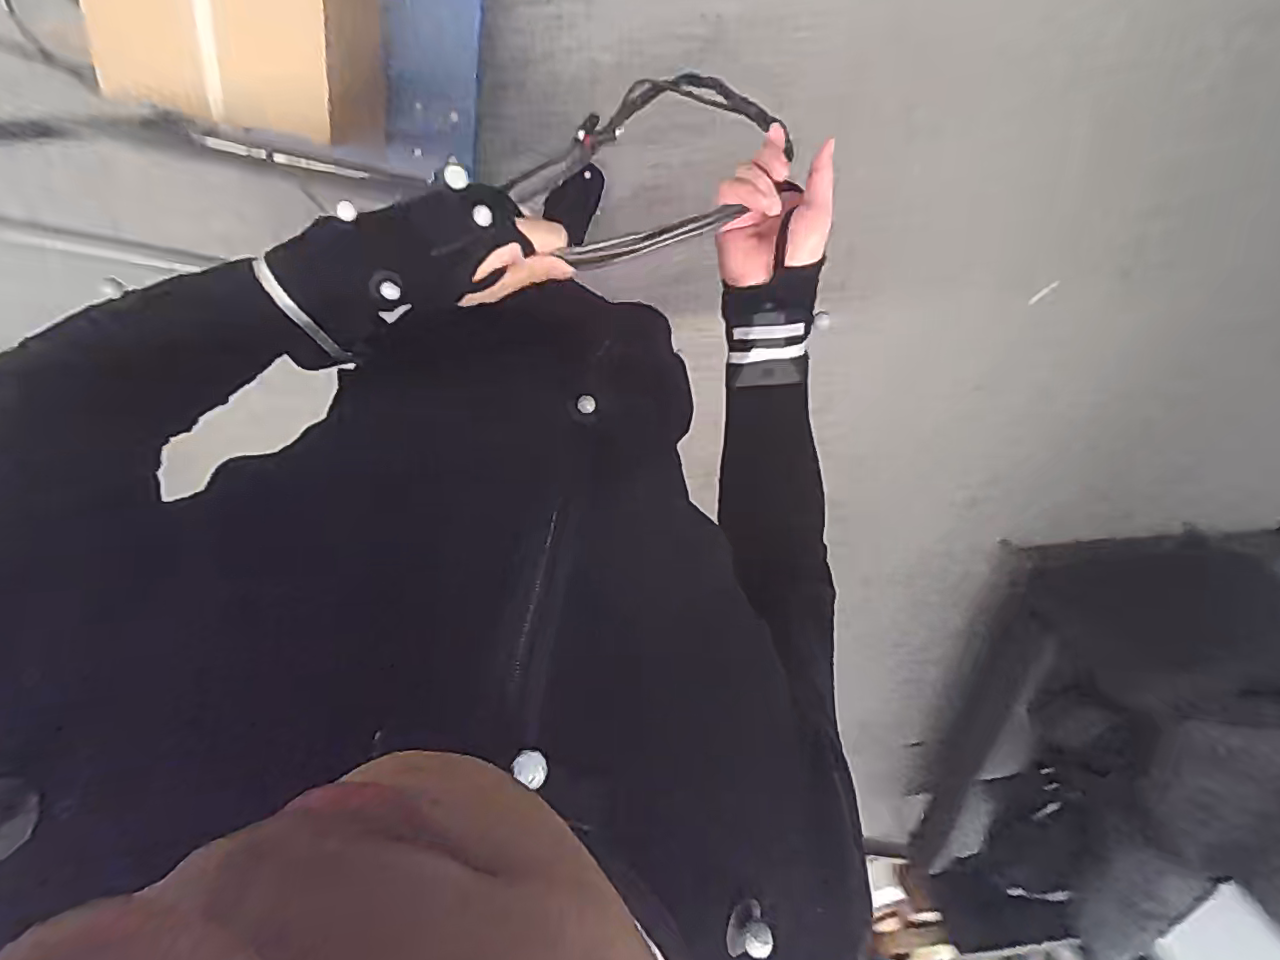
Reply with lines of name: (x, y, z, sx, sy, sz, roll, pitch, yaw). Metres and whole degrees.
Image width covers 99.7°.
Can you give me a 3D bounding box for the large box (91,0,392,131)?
large box: (-0.593, -0.810, 0.838, 0.320, 0.320, 0.408, 8, 120, -12)
